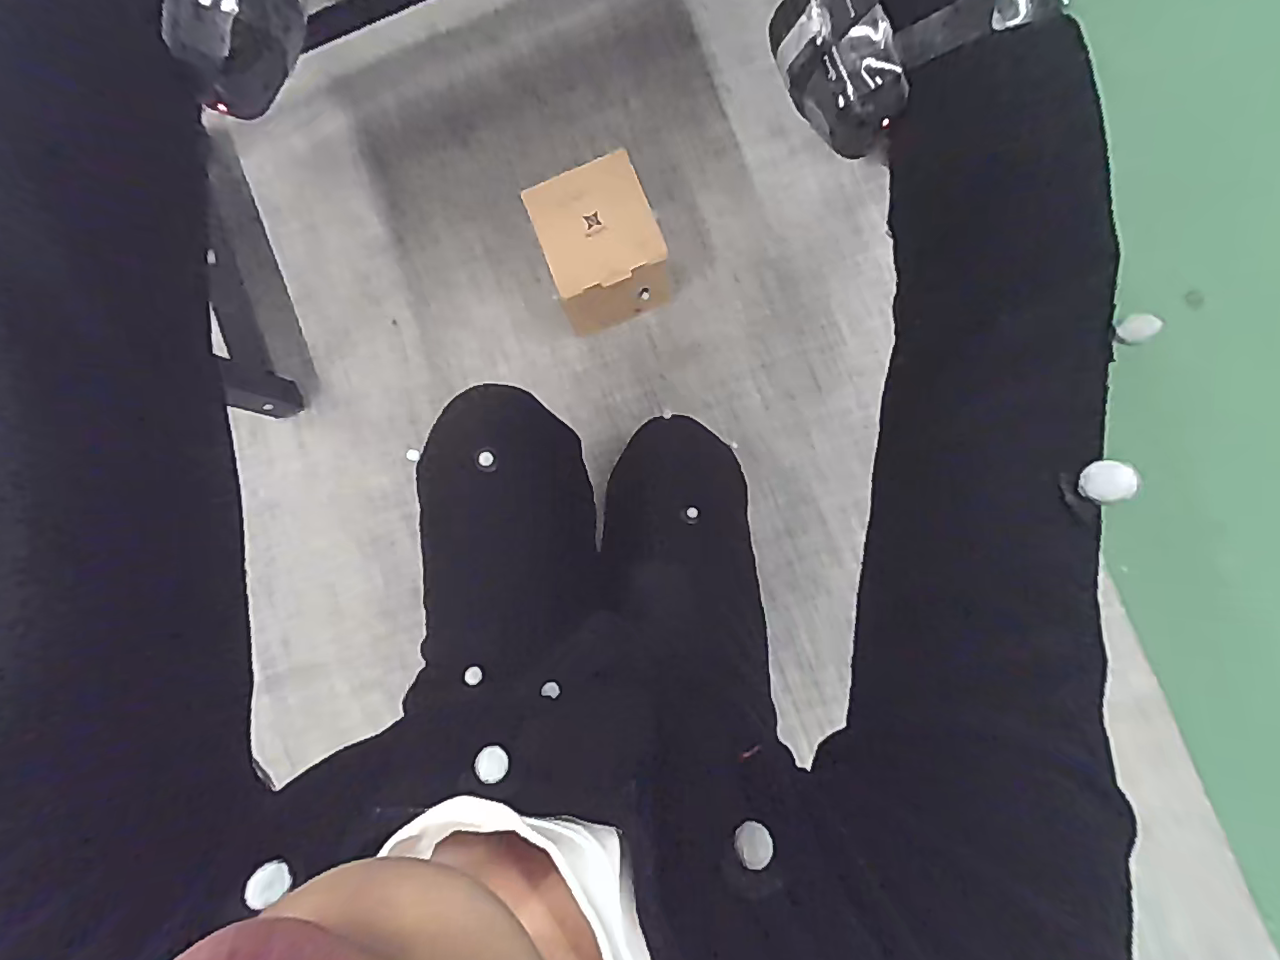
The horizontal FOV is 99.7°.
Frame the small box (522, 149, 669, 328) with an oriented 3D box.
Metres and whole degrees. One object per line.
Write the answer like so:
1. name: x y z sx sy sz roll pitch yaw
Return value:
1. small box: -0.059 -0.359 0.846 0.168 0.176 0.179 -22 83 2
